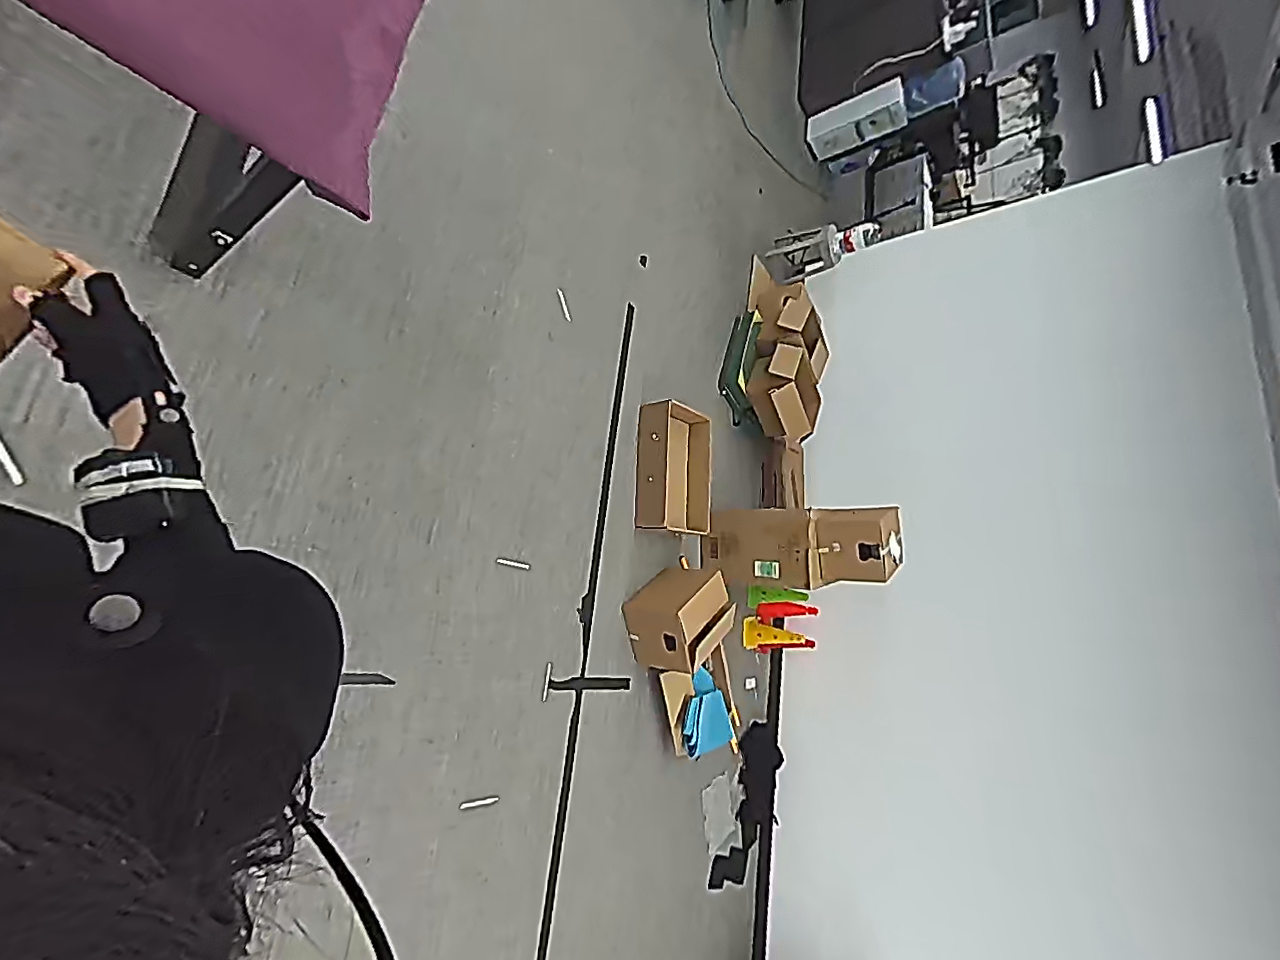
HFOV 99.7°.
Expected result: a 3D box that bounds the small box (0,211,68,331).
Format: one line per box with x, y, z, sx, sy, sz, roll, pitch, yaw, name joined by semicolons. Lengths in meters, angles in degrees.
-0.618;-0.191;0.401;0.168;0.176;0.179;-57;160;-11;small box
